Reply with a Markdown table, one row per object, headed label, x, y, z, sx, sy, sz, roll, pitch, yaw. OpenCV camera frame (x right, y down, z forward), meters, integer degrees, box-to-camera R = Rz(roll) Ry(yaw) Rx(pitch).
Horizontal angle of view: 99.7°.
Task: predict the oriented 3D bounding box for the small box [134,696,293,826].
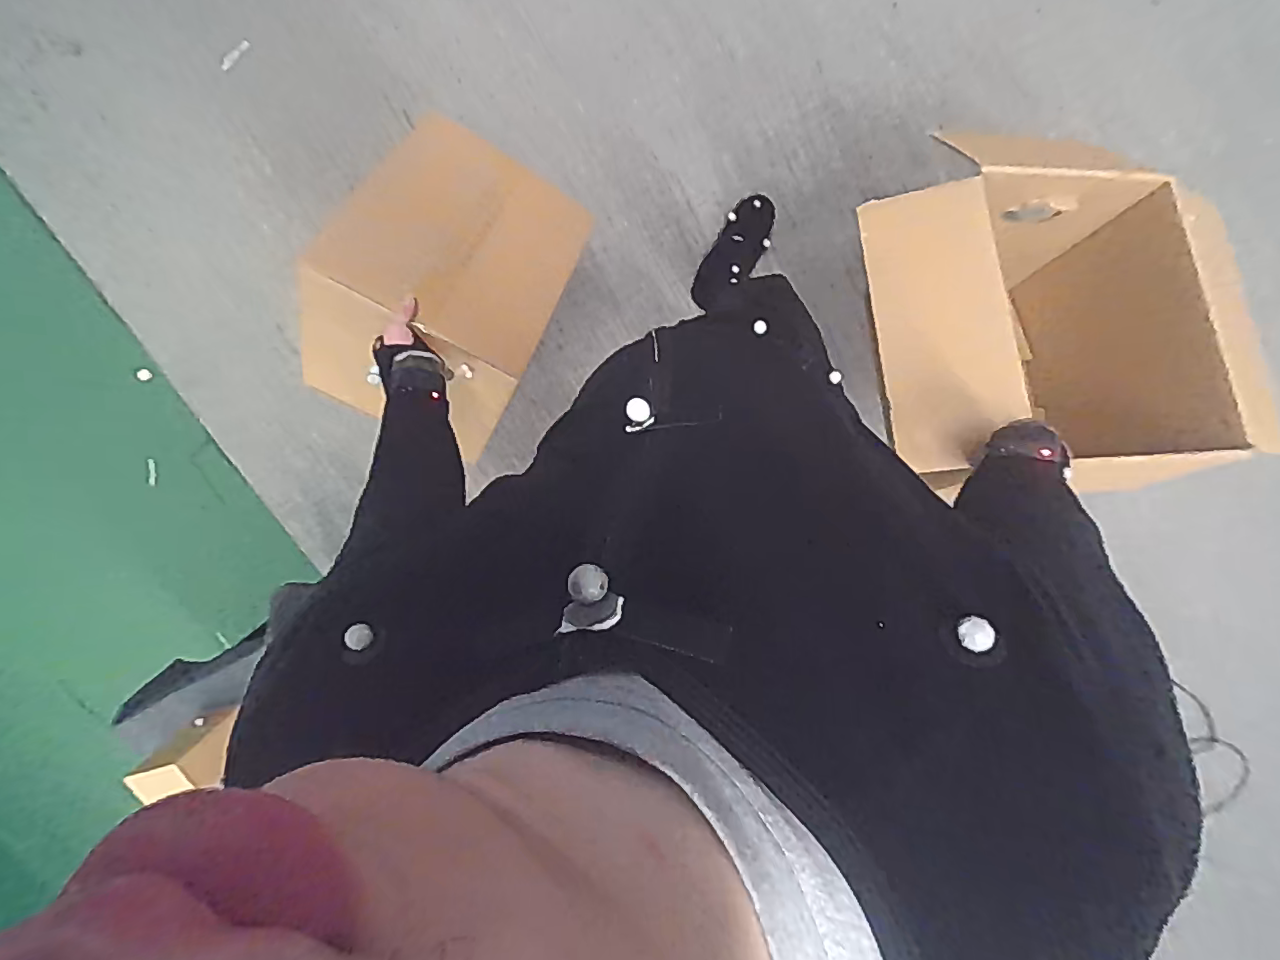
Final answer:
| label | x | y | z | sx | sy | sz | roll | pitch | yaw |
| --- | --- | --- | --- | --- | --- | --- | --- | --- | --- |
| small box | -0.905 | 0.601 | 1.166 | 0.168 | 0.176 | 0.179 | -20 | 107 | 18 |
